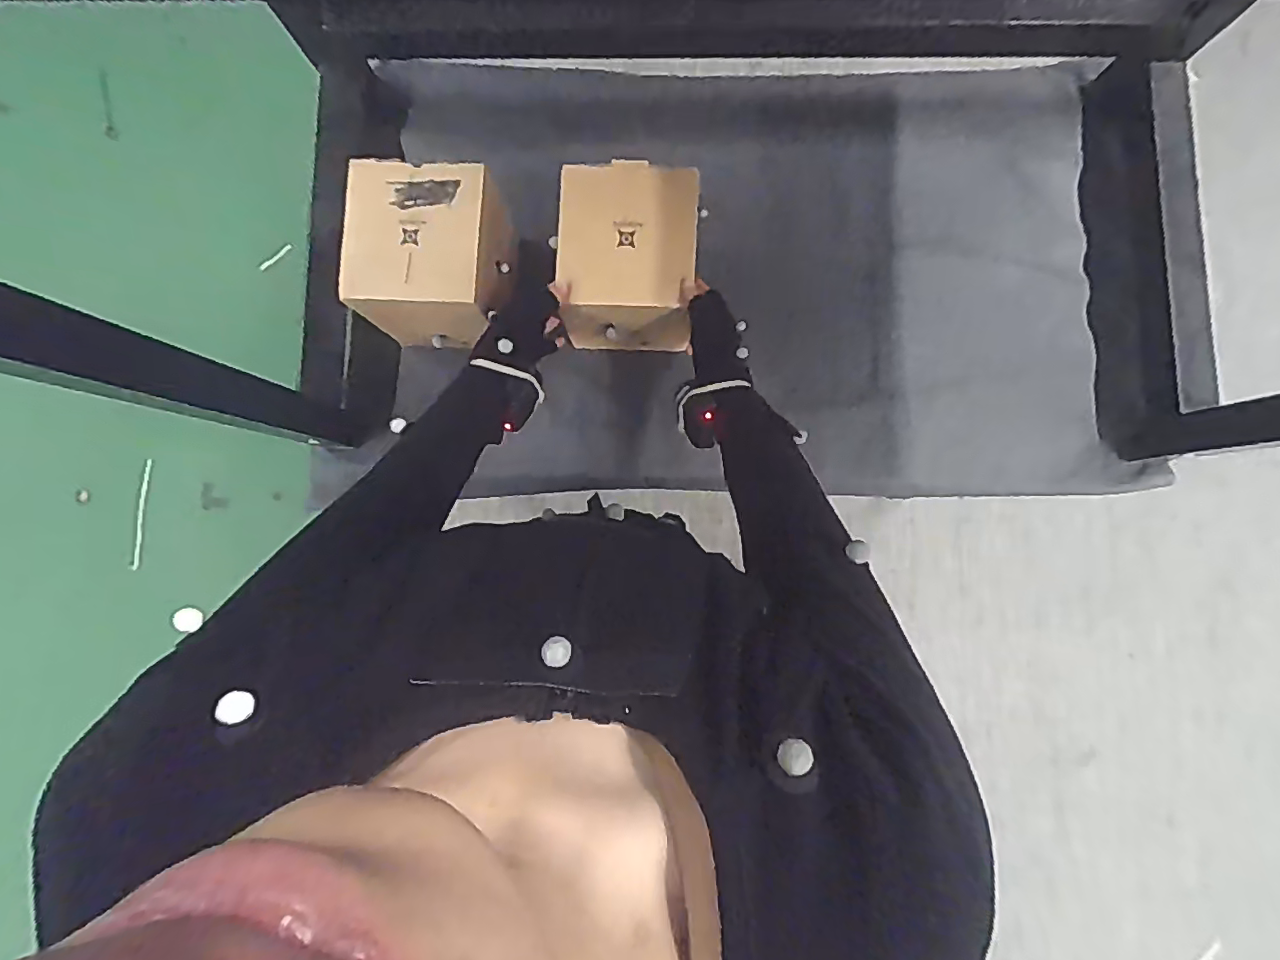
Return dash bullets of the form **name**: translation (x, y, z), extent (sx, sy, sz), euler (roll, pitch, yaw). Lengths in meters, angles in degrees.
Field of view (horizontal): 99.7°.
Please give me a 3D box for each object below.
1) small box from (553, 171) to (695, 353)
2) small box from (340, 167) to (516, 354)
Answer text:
- **small box**: translation (-0.016, -0.278, 0.723), extent (0.168, 0.176, 0.179), euler (2, 85, 1)
- **small box**: translation (-0.269, -0.284, 0.726), extent (0.168, 0.176, 0.179), euler (2, 85, 2)
